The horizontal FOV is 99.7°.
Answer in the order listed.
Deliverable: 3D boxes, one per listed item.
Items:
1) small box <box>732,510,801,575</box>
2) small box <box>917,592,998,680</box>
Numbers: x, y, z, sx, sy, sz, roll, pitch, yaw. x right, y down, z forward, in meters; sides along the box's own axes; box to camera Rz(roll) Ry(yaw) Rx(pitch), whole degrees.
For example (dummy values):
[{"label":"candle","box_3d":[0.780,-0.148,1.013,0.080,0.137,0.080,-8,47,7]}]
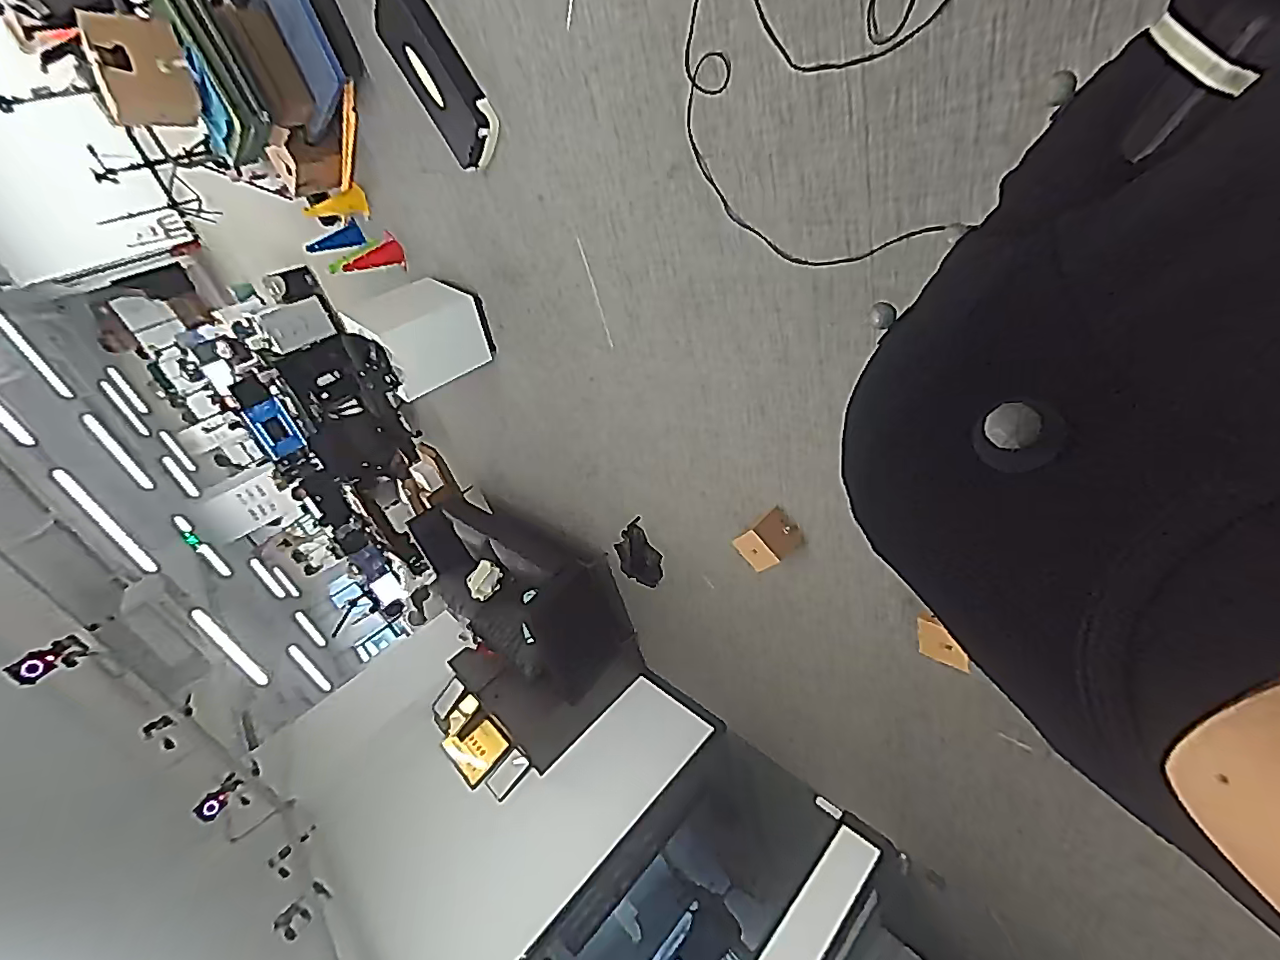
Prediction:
[{"label":"small box","box_3d":[0.509,0.249,2.164,0.168,0.176,0.179,49,150,6]},{"label":"small box","box_3d":[0.997,0.480,1.693,0.179,0.176,0.168,18,135,48]}]
